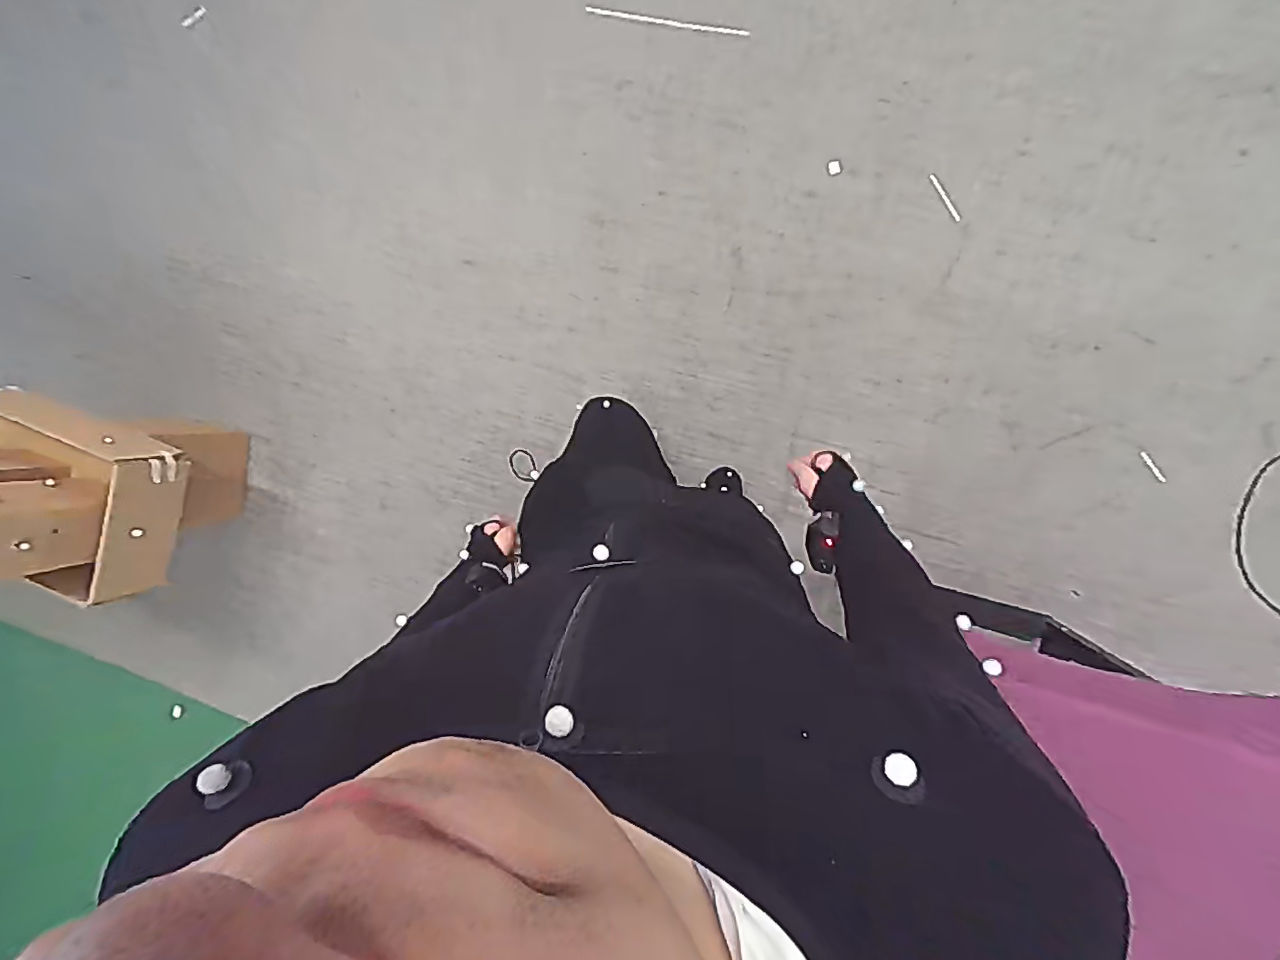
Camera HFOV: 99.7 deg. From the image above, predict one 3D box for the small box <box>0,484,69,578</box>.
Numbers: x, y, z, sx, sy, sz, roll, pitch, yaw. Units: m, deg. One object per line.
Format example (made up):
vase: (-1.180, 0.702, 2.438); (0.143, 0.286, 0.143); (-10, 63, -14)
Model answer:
small box: (-1.468, 0.114, 1.226); (0.179, 0.176, 0.168); (20, 98, 8)

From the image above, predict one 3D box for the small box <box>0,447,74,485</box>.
small box: (-1.672, 0.012, 1.426); (0.179, 0.176, 0.168); (18, 98, 5)

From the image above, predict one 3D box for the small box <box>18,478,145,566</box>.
small box: (-1.438, 0.099, 1.386); (0.179, 0.176, 0.168); (21, 99, 9)
